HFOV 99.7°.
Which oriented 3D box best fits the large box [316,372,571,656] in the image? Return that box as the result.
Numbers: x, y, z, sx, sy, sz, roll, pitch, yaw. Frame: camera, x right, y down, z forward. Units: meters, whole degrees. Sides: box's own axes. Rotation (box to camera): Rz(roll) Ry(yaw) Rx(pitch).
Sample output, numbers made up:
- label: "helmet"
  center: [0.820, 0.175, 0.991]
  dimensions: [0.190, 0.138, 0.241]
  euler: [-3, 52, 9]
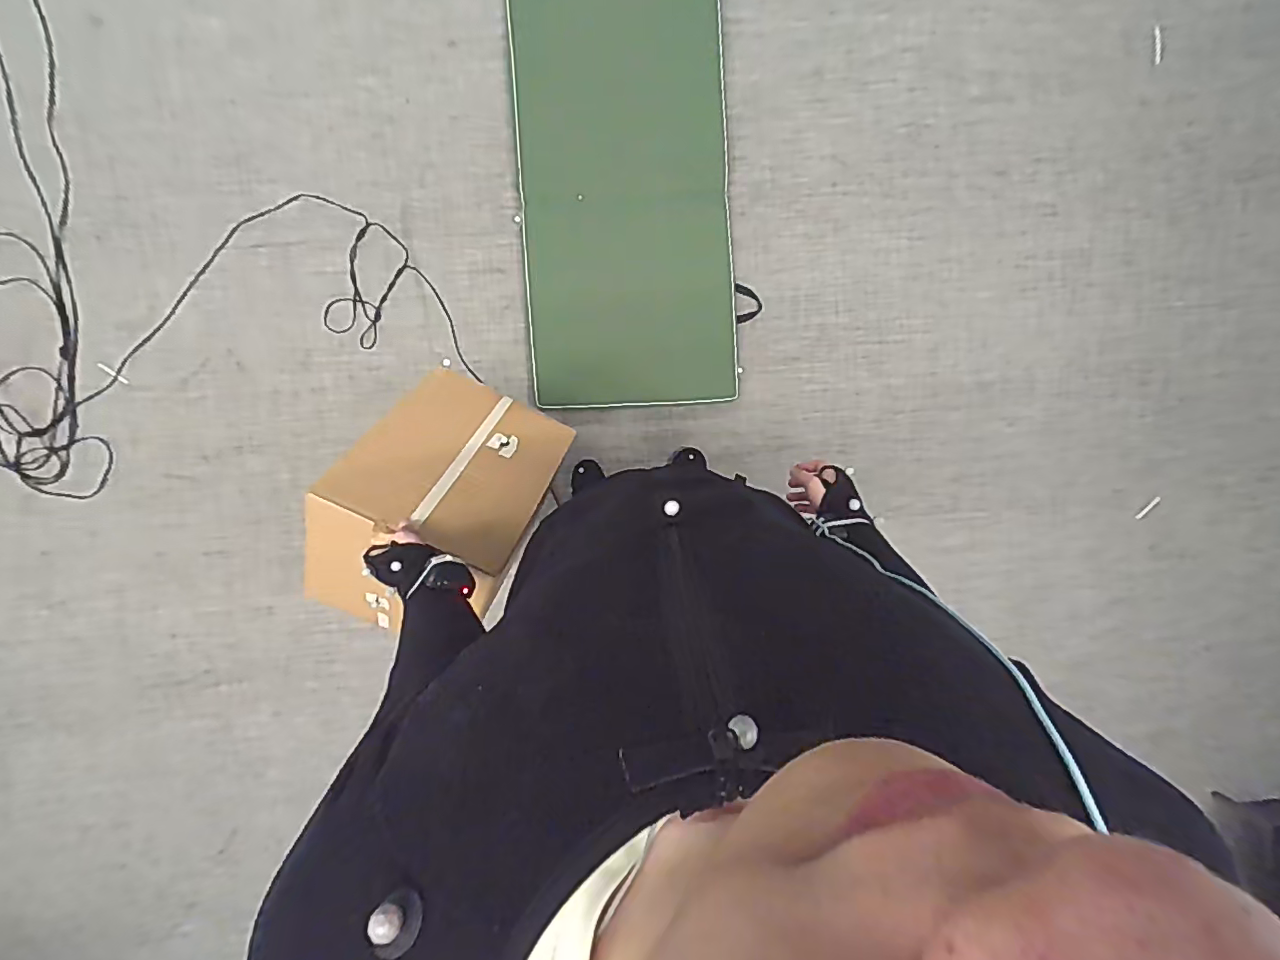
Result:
- label: "large box"
  center: [-0.377, 0.064, 1.077]
  dimensions: [0.320, 0.408, 0.320]
  euler: [27, 131, -7]
